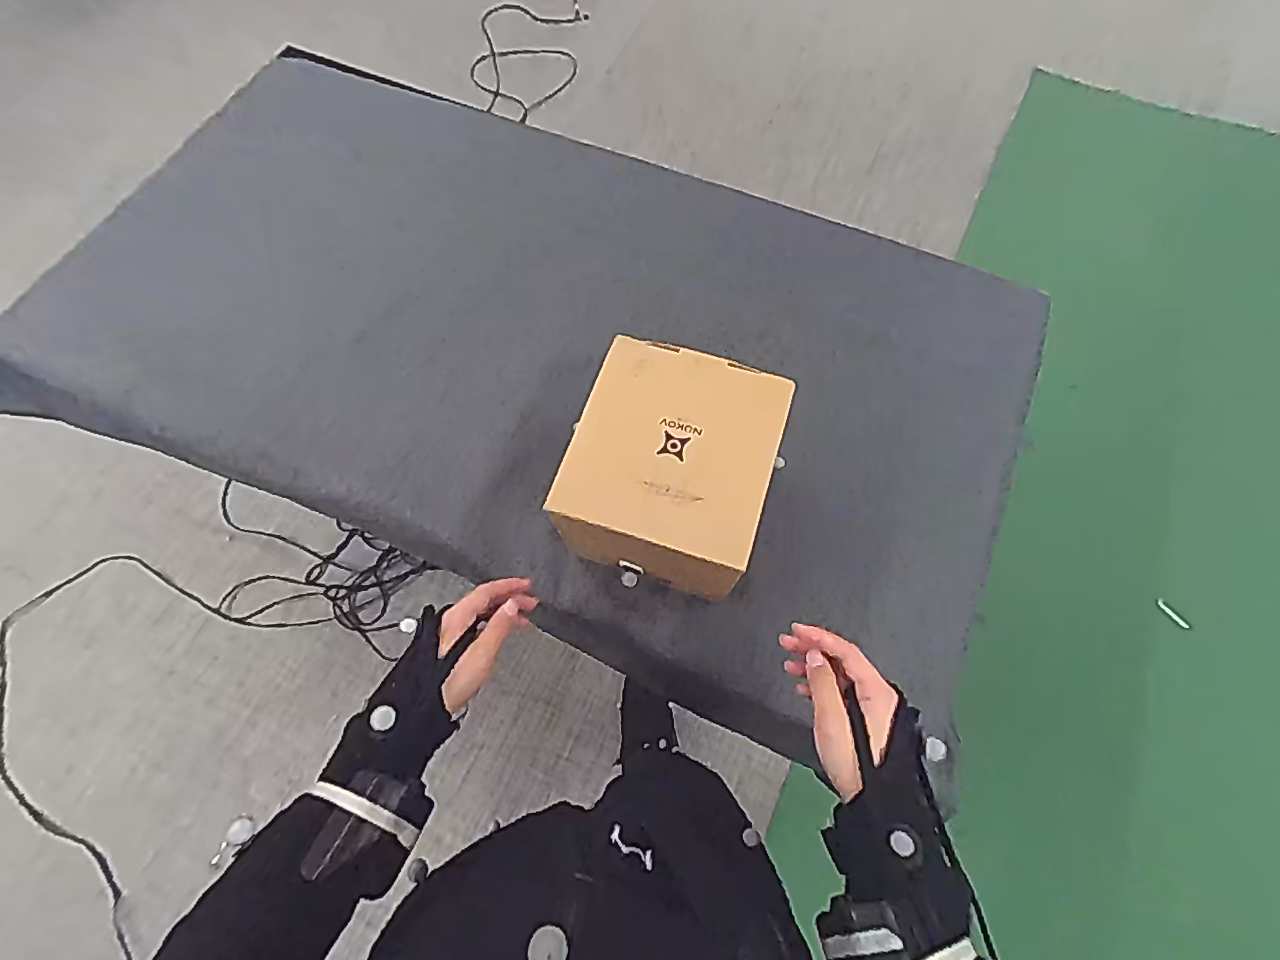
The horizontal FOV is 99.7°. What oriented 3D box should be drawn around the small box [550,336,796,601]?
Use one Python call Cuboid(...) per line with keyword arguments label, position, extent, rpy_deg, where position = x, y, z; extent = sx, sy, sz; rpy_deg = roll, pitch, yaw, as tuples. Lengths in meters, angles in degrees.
Cuboid(label="small box", position=(0.032, -0.001, 0.515), extent=(0.168, 0.176, 0.179), rpy_deg=(16, 70, 8))
